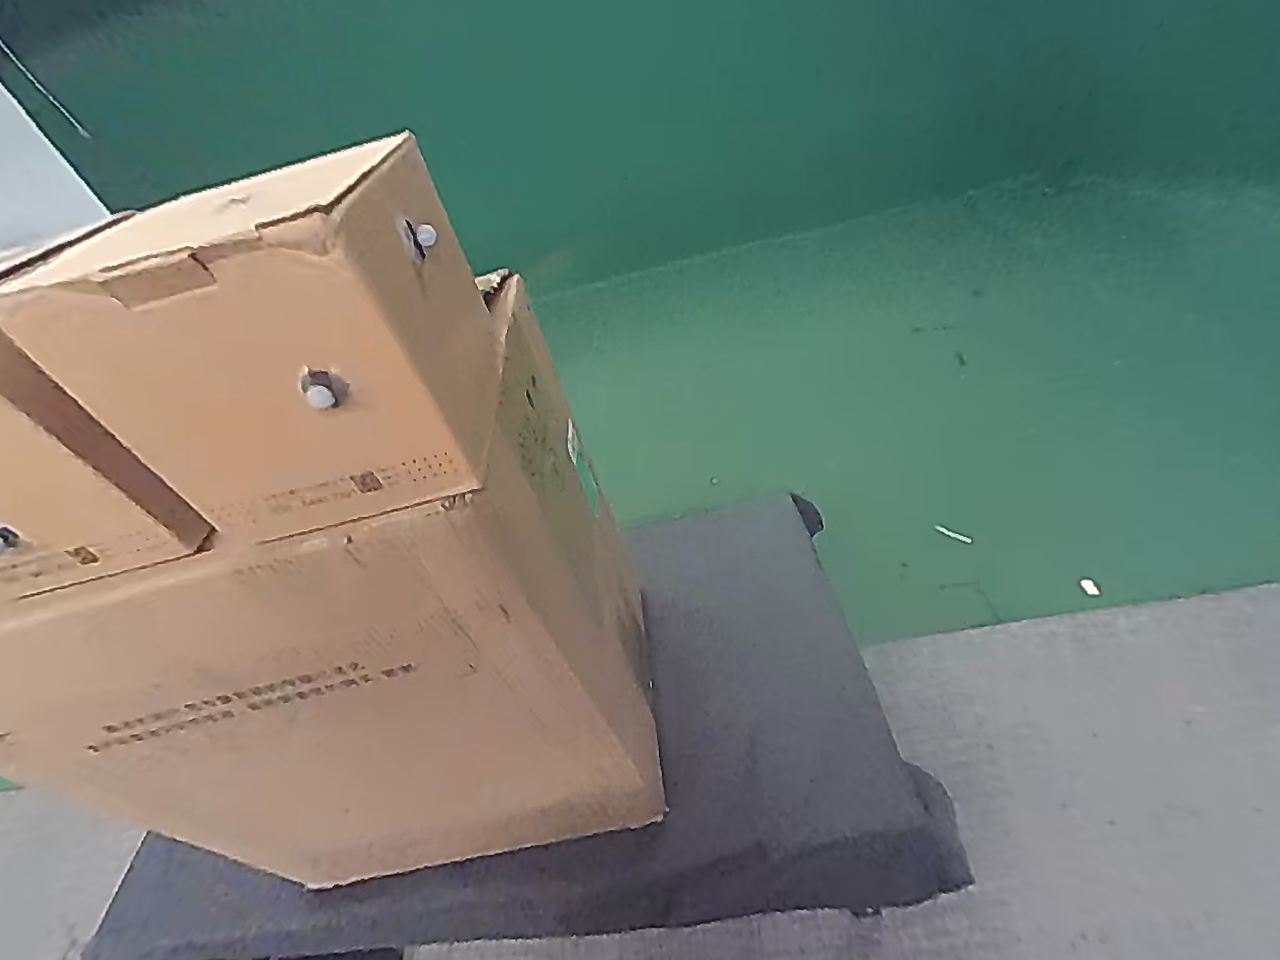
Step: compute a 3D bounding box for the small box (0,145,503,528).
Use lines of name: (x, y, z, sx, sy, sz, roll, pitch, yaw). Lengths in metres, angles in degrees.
small box: (-0.198, -0.087, 0.349, 0.168, 0.176, 0.179, -12, 41, 2)

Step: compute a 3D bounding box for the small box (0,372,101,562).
small box: (-0.570, -0.006, 0.388, 0.168, 0.176, 0.179, -14, 42, 6)
